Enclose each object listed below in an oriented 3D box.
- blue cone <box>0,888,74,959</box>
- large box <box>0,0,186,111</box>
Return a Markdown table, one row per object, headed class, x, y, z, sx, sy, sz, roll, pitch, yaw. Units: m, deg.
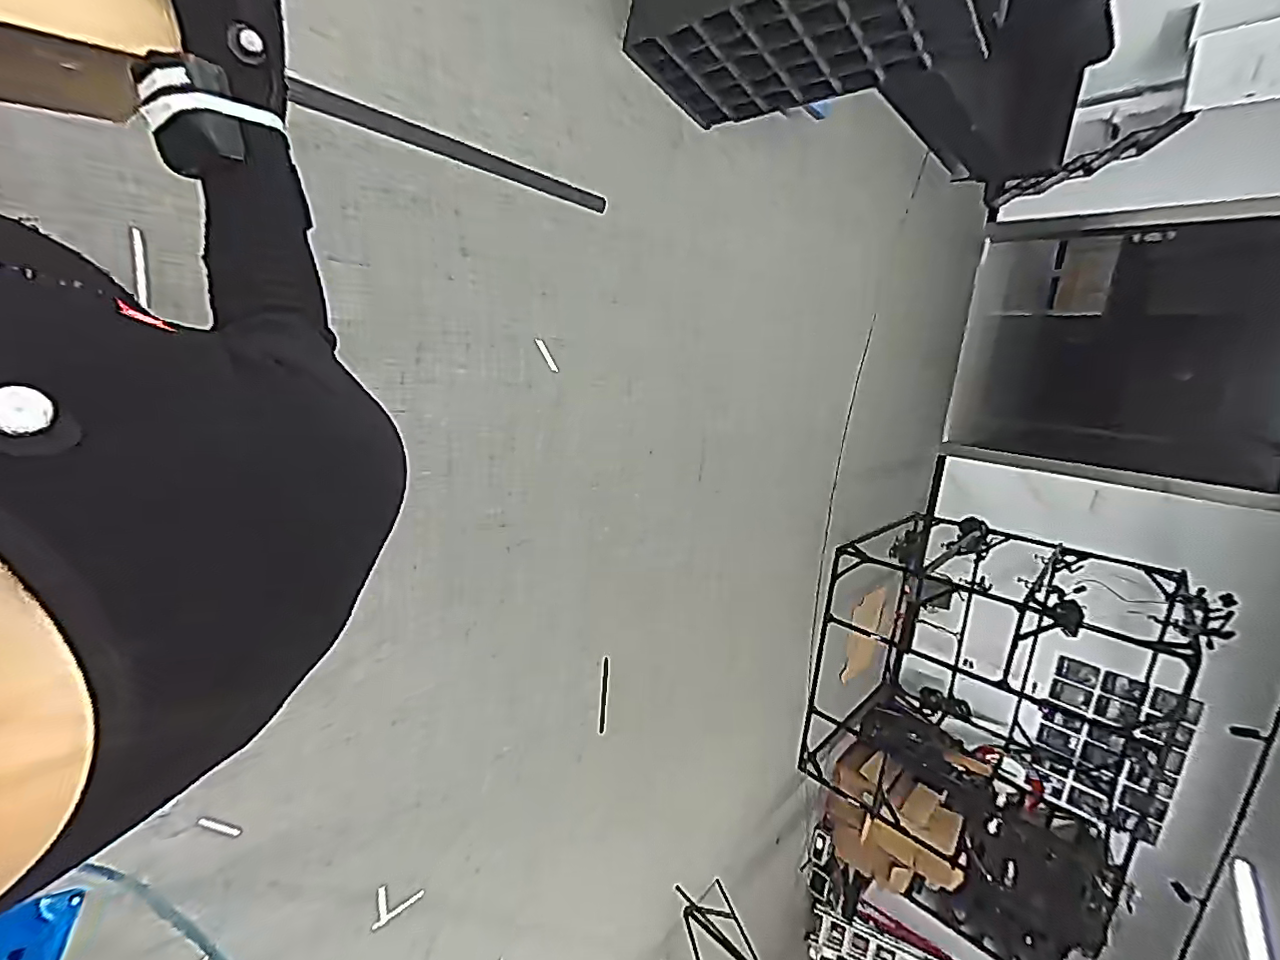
| class | x | y | z | sx | sy | sz | roll | pitch | yaw |
| --- | --- | --- | --- | --- | --- | --- | --- | --- | --- |
| blue cone | -1.224 | 1.008 | 1.026 | 0.193 | 0.380 | 0.192 | 25 | 83 | -49 |
| large box | -0.569 | -0.444 | 0.293 | 0.408 | 0.320 | 0.320 | -20 | 121 | -46 |
